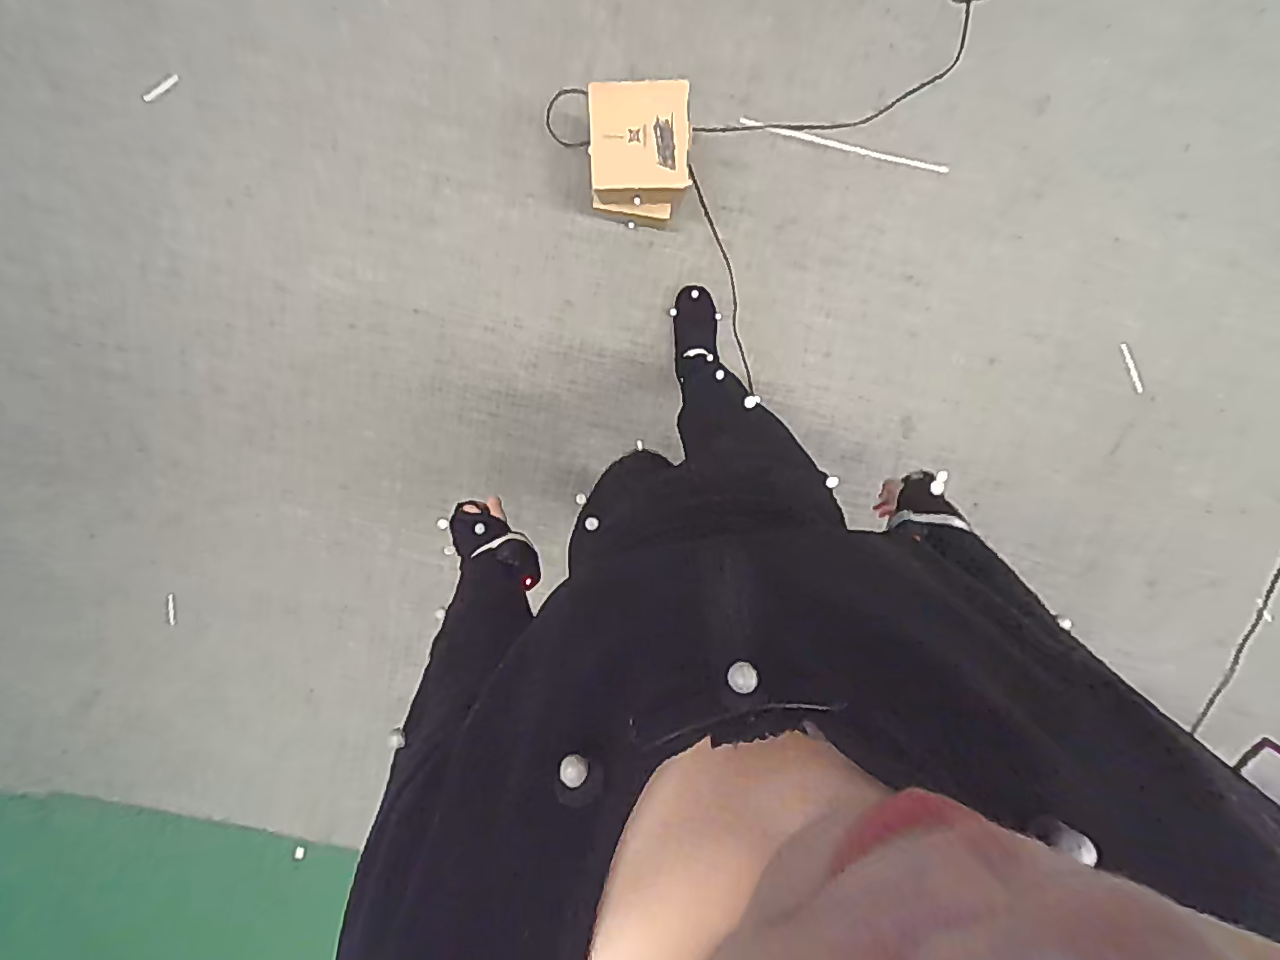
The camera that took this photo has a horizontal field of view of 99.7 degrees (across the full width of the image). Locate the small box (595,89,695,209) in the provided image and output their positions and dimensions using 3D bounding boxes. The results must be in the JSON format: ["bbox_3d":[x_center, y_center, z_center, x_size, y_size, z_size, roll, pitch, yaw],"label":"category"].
[{"bbox_3d":[0.013,-0.624,1.035,0.179,0.176,0.168,1,108,4],"label":"small box"}]
